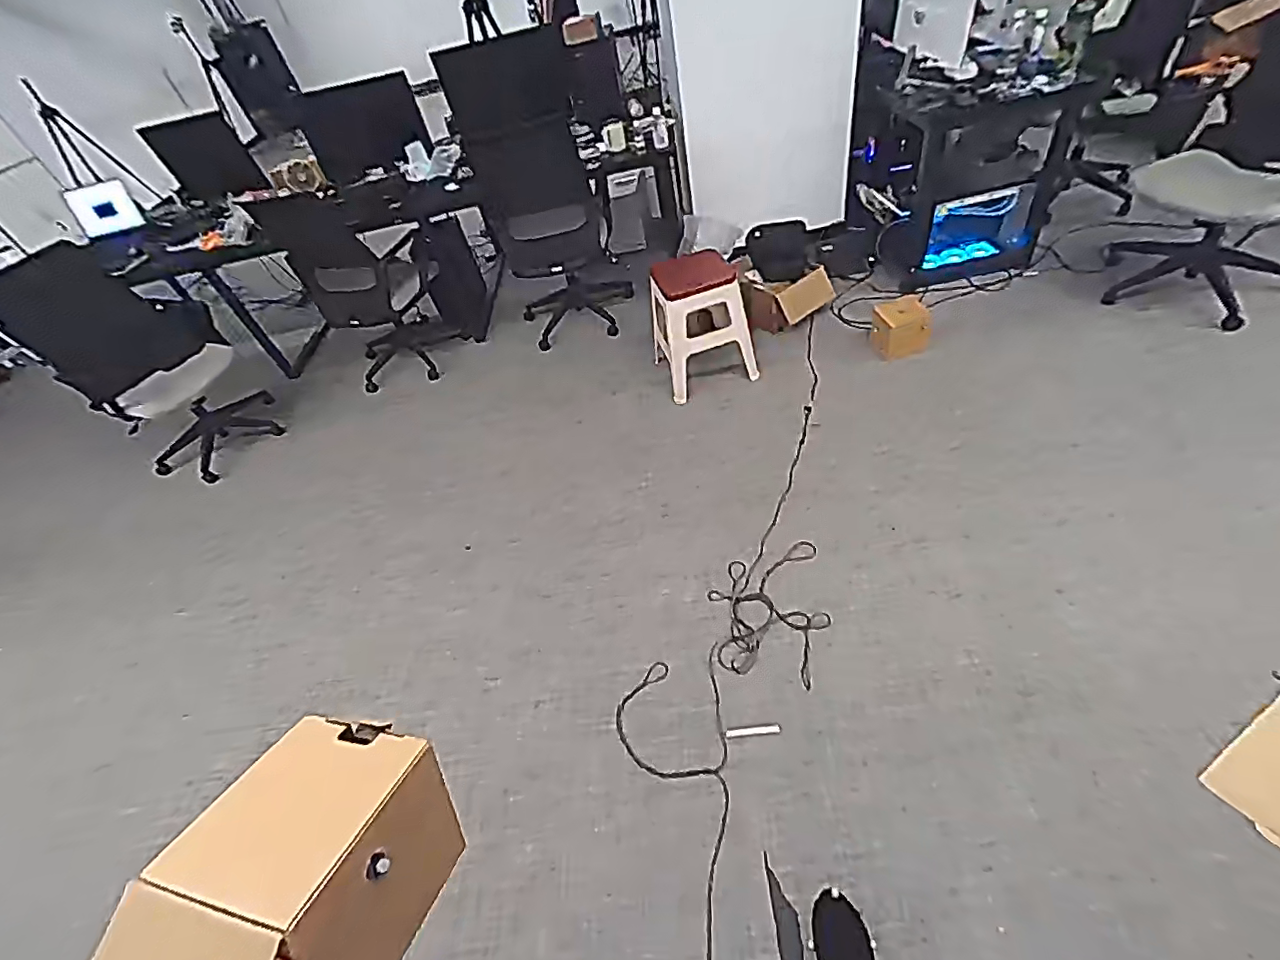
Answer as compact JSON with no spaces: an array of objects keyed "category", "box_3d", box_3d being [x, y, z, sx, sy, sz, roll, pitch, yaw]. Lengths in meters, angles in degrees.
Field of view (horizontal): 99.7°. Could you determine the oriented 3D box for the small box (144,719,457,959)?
[{"category":"small box","box_3d":[-0.306,0.374,0.530,0.168,0.176,0.179,1,23,17]}]
